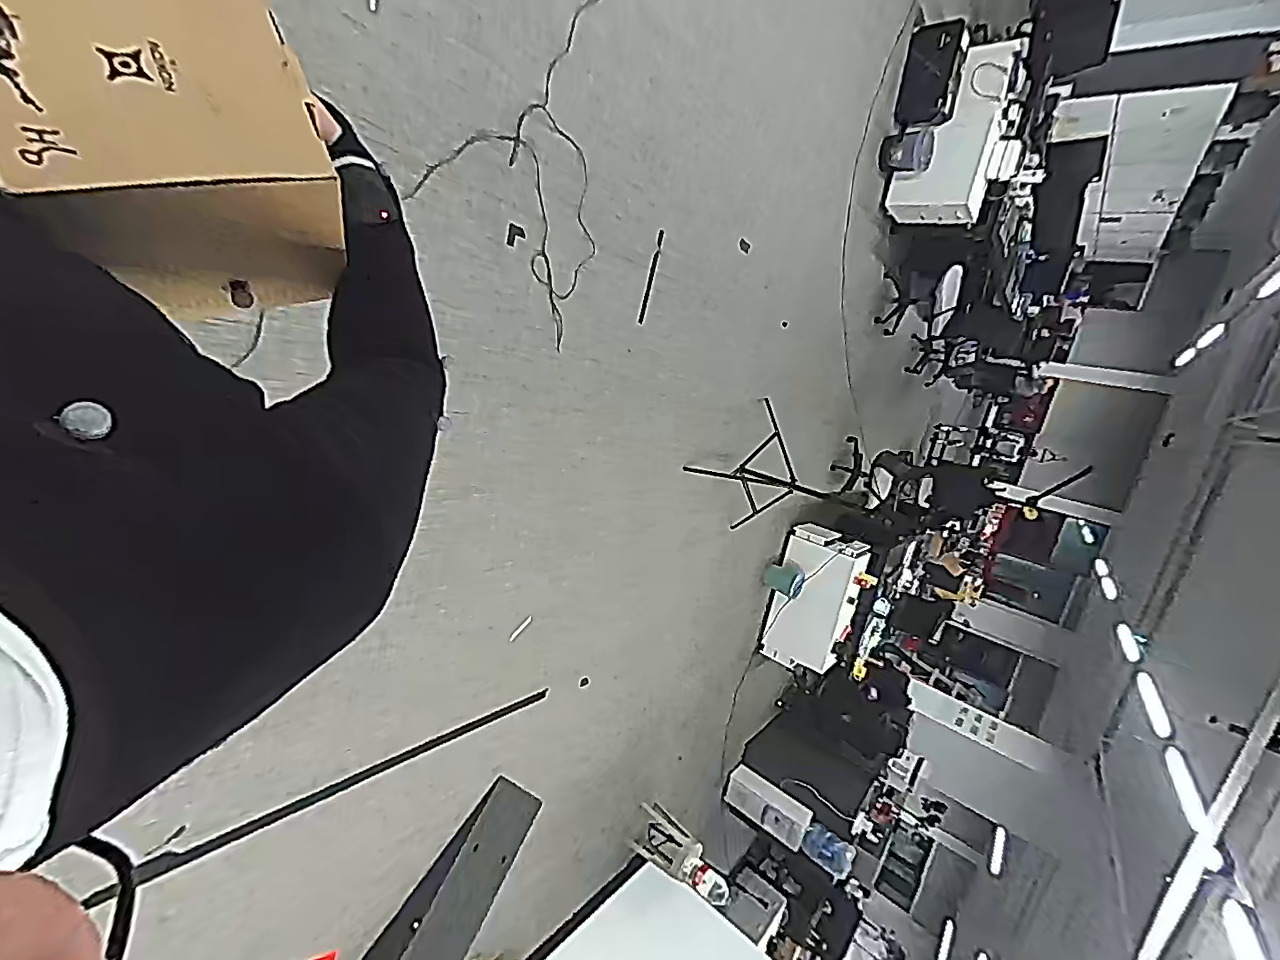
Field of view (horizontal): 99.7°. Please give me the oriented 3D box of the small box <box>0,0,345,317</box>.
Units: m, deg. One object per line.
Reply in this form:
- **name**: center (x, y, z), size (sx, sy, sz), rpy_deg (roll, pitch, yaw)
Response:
- **small box**: center (-0.354, -0.252, 0.430), size (0.179, 0.176, 0.168), rpy_deg (-21, 86, -29)
